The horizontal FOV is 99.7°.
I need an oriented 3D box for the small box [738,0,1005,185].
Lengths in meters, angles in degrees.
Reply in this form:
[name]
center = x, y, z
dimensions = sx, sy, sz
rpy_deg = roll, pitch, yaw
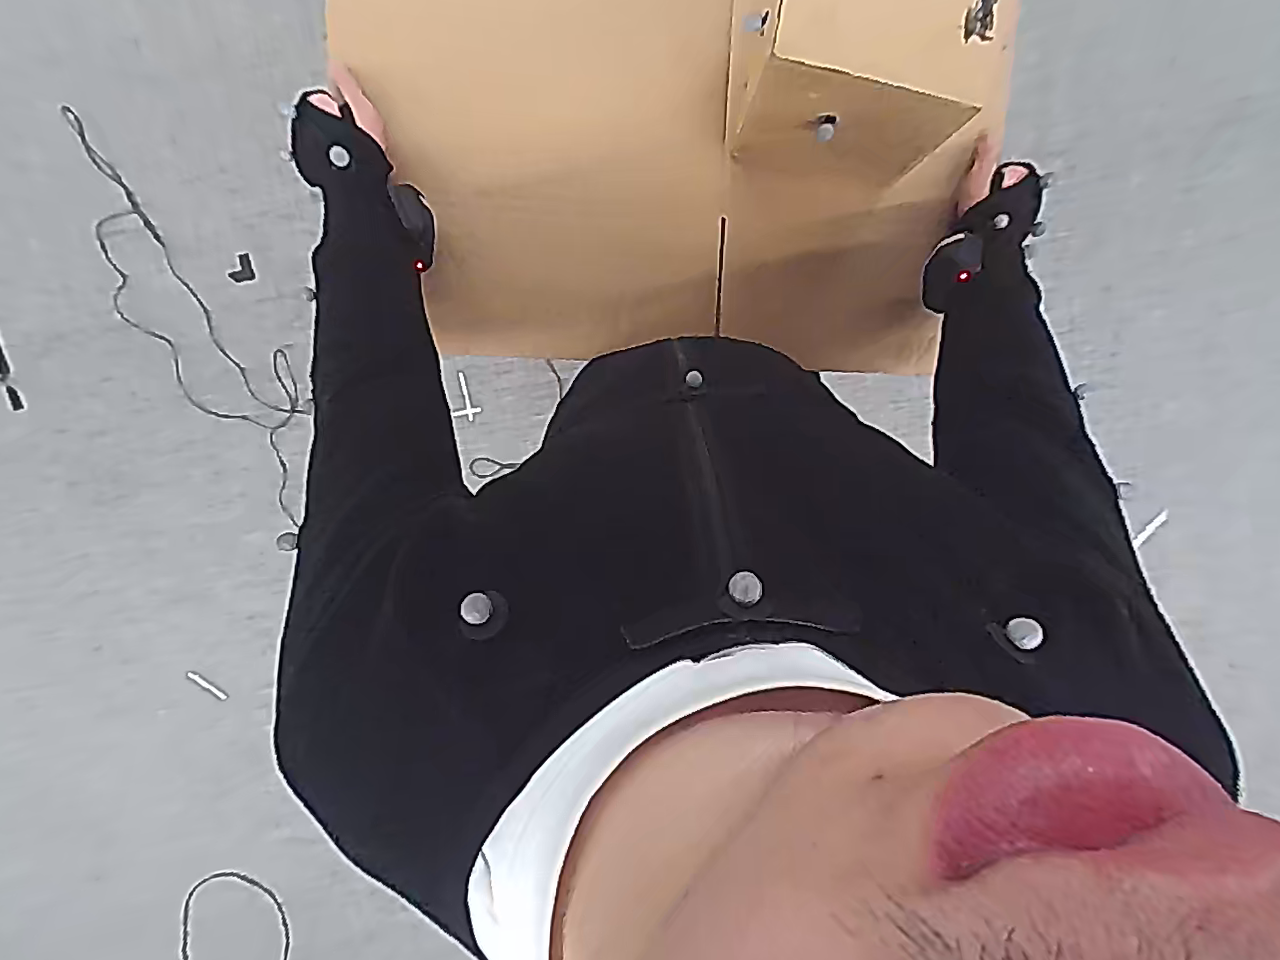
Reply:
[small box]
center = 0.200, -0.400, 0.496
dimensions = 0.179, 0.176, 0.168
rpy_deg = 12, 98, -2
